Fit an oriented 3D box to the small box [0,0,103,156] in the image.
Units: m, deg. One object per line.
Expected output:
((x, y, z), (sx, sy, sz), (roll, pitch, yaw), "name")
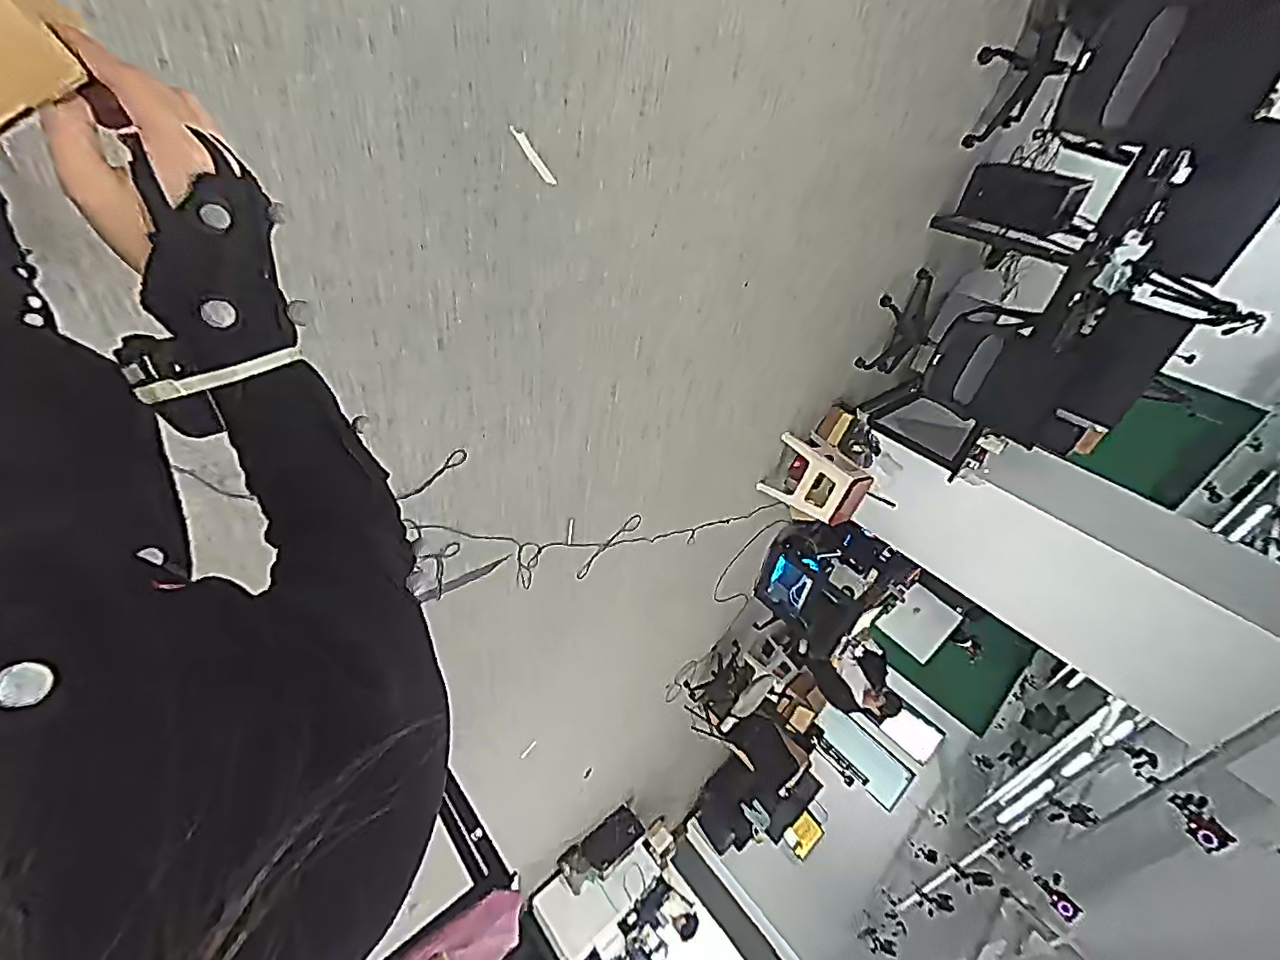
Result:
((-0.397, -0.231, 0.230), (0.168, 0.176, 0.179), (-40, 148, -6), "small box")
